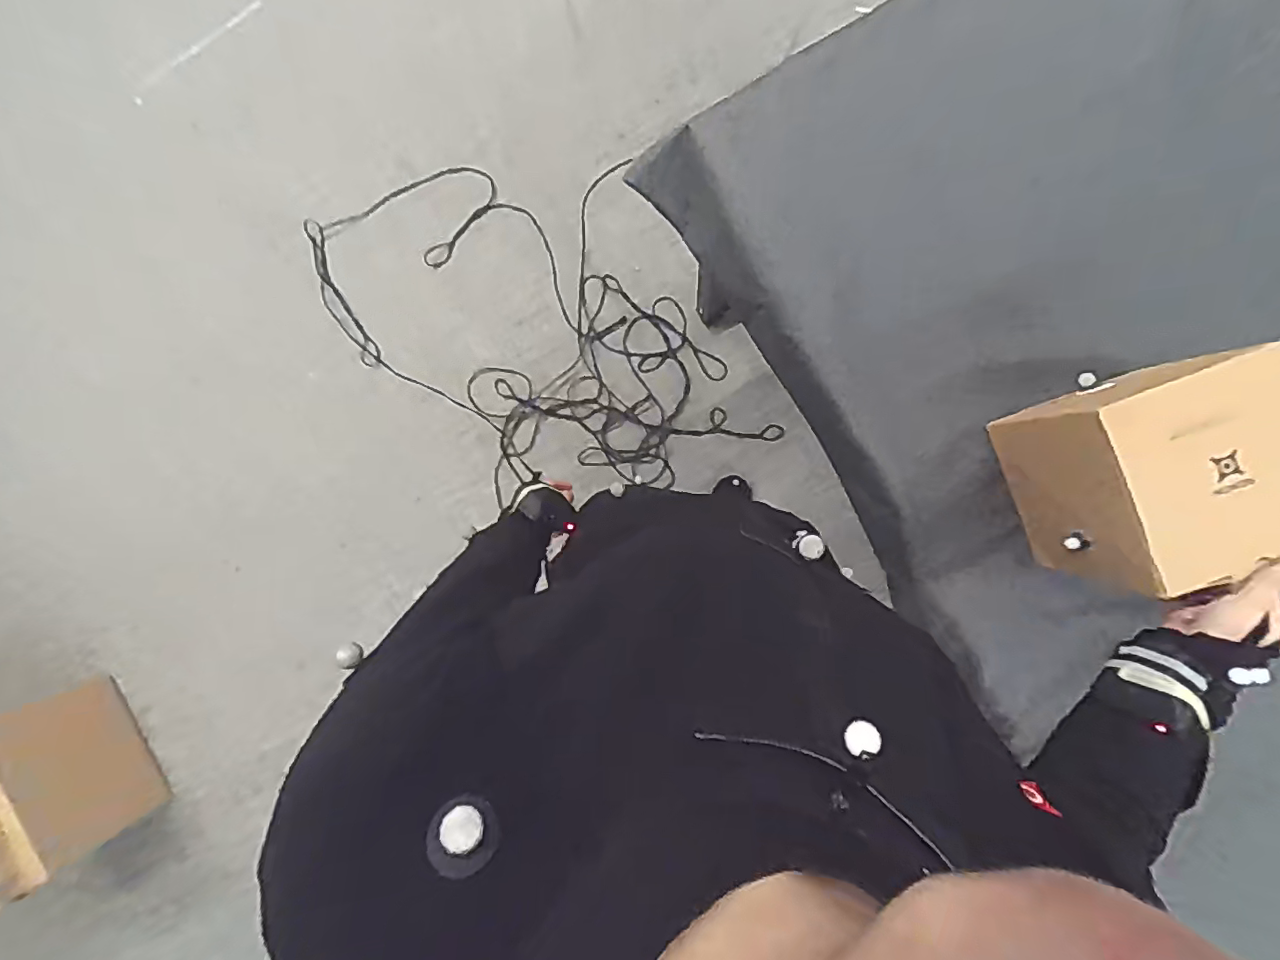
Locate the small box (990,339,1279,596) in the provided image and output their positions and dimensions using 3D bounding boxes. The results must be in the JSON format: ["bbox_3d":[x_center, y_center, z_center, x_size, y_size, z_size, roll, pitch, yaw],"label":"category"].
[{"bbox_3d":[0.492,-0.011,0.528,0.168,0.176,0.179,-21,89,4],"label":"small box"}]

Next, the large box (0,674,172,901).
[{"bbox_3d":[-1.552,0.793,1.397,0.320,0.320,0.408,-29,88,4],"label":"large box"}]
